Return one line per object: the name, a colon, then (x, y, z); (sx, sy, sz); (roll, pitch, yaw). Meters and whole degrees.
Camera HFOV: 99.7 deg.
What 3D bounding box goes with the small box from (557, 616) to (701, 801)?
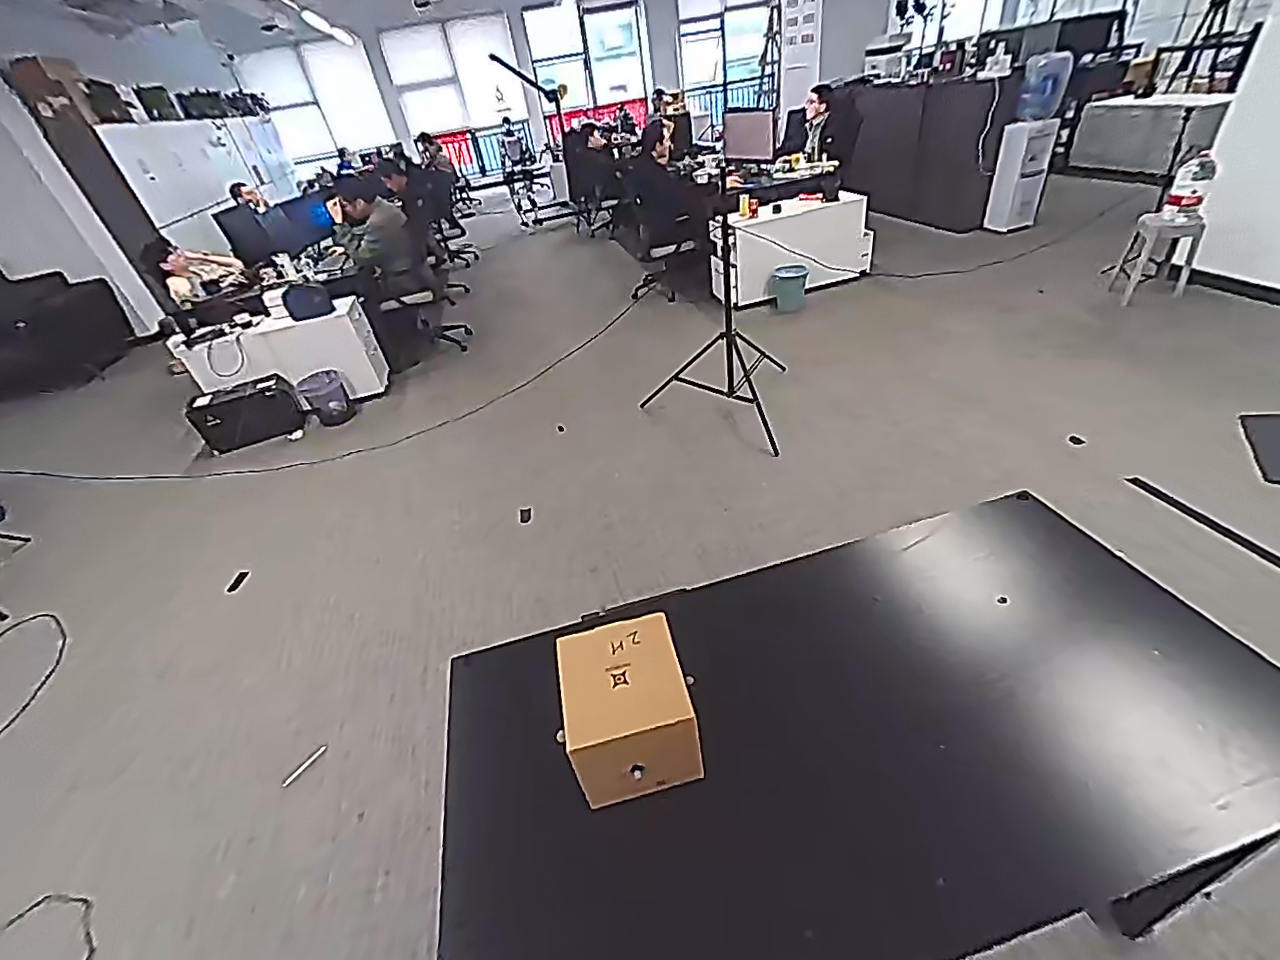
small box: (-0.016, 0.334, 0.784); (0.168, 0.176, 0.179); (-13, 36, -4)
